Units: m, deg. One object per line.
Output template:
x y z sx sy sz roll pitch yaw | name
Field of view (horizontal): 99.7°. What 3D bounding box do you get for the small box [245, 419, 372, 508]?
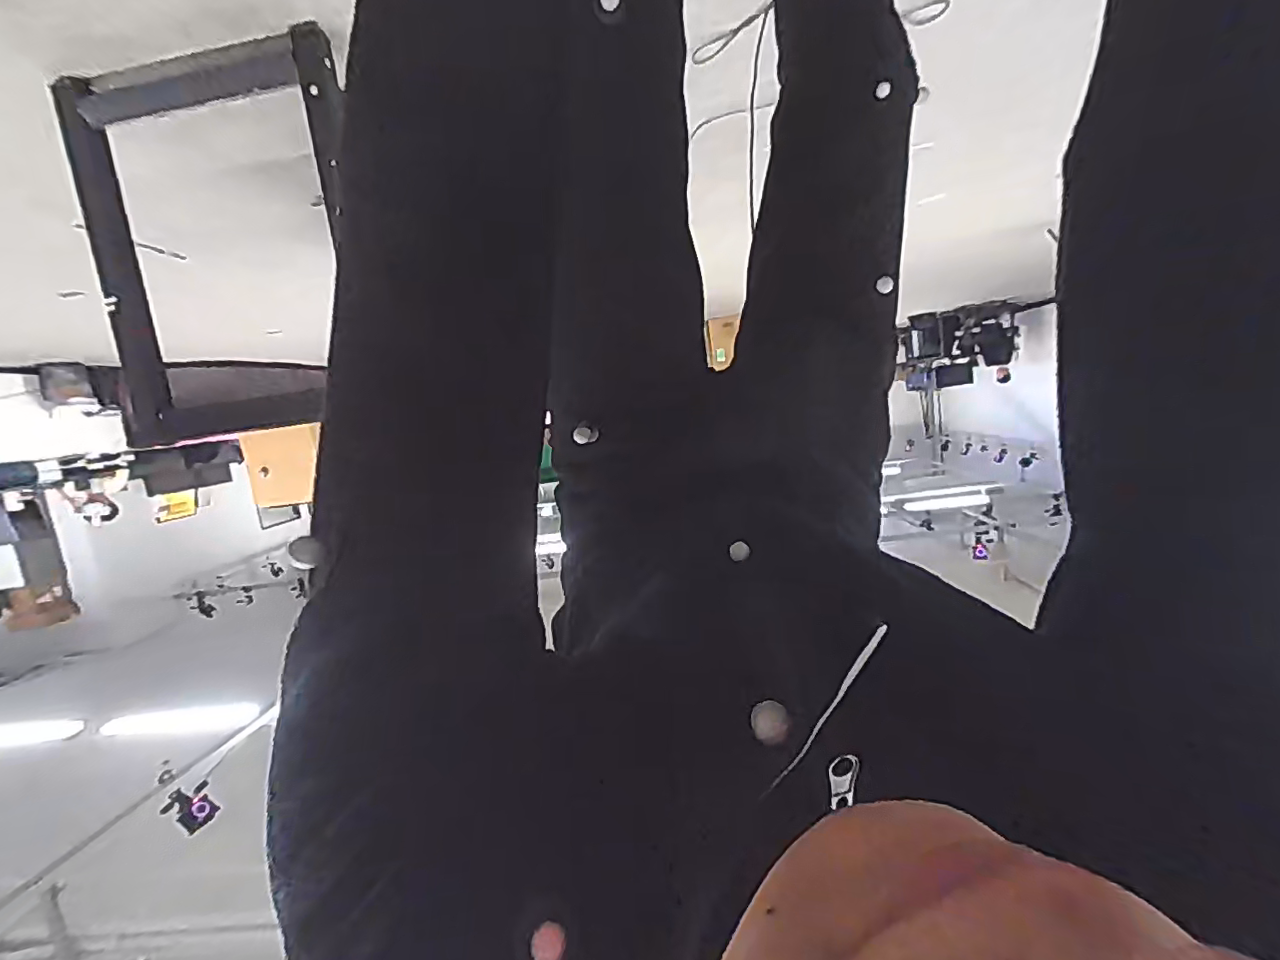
-0.740 -0.043 1.210 0.179 0.176 0.168 -6 -170 10 | small box
